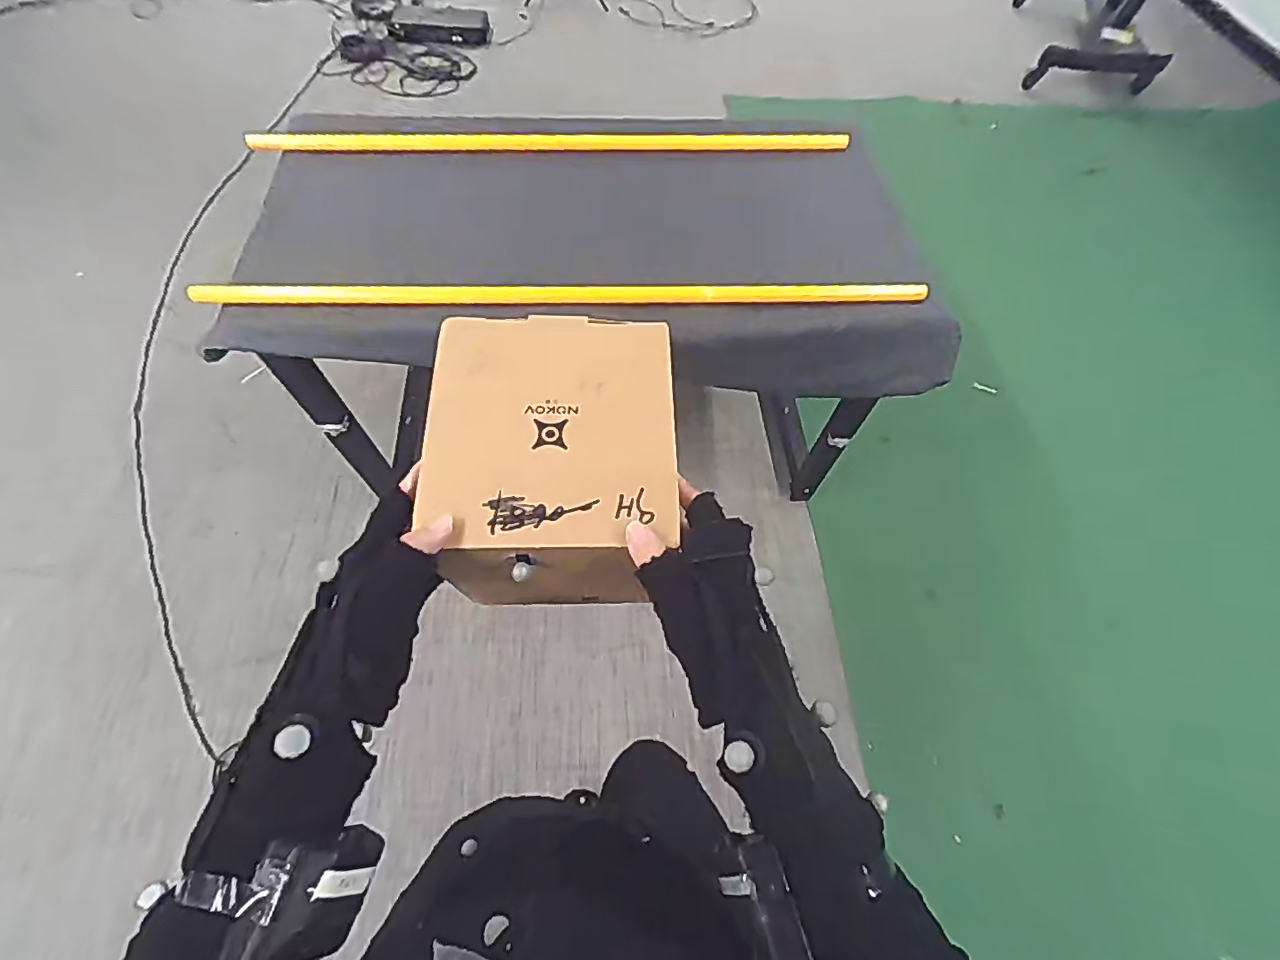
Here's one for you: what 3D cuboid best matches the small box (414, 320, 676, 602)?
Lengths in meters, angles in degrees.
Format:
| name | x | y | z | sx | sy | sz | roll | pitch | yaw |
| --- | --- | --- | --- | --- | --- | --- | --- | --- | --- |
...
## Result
| name | x | y | z | sx | sy | sz | roll | pitch | yaw |
| --- | --- | --- | --- | --- | --- | --- | --- | --- | --- |
| small box | -0.063 | -0.007 | 0.443 | 0.168 | 0.176 | 0.179 | 0 | 65 | -2 |
